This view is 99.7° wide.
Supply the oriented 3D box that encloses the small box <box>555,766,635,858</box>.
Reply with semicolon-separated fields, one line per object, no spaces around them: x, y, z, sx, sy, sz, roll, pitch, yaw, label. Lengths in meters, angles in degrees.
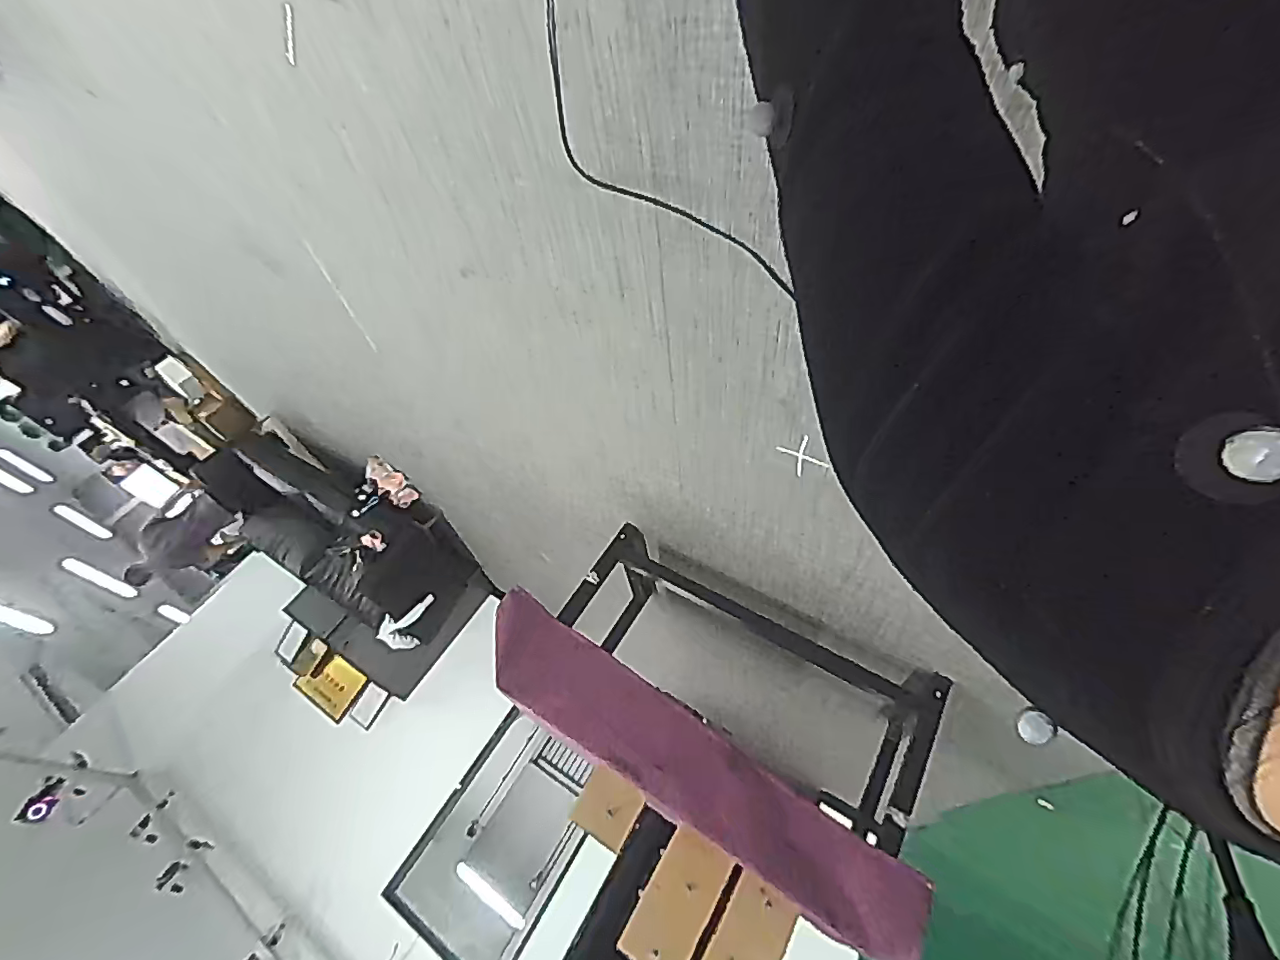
-0.128;0.984;1.613;0.179;0.176;0.168;27;150;16;small box
